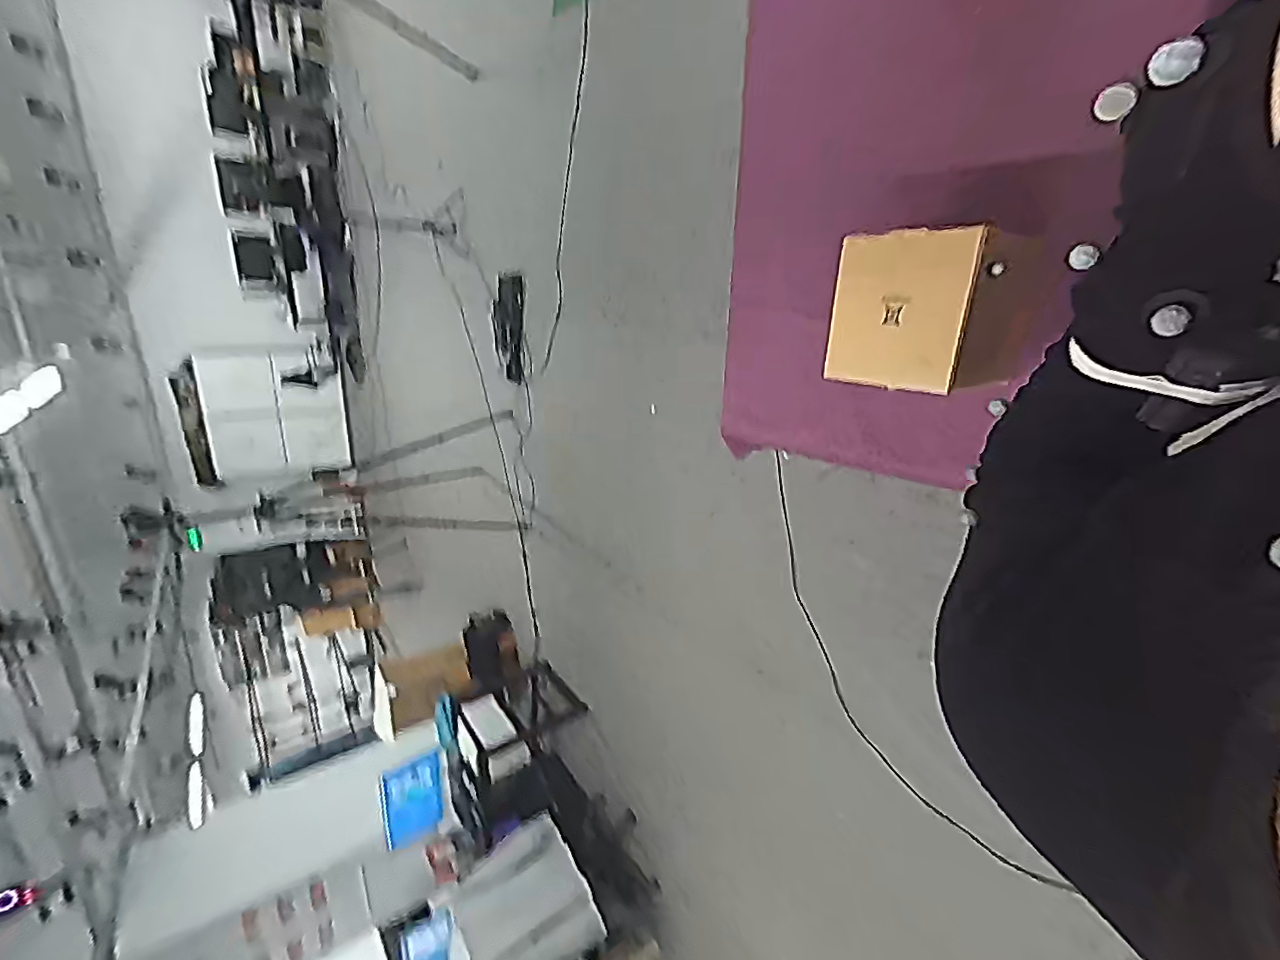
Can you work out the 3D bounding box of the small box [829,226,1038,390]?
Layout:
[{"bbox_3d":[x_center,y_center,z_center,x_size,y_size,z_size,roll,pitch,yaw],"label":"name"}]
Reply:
[{"bbox_3d":[0.374,-0.218,0.697,0.168,0.176,0.179,24,118,50],"label":"small box"}]
